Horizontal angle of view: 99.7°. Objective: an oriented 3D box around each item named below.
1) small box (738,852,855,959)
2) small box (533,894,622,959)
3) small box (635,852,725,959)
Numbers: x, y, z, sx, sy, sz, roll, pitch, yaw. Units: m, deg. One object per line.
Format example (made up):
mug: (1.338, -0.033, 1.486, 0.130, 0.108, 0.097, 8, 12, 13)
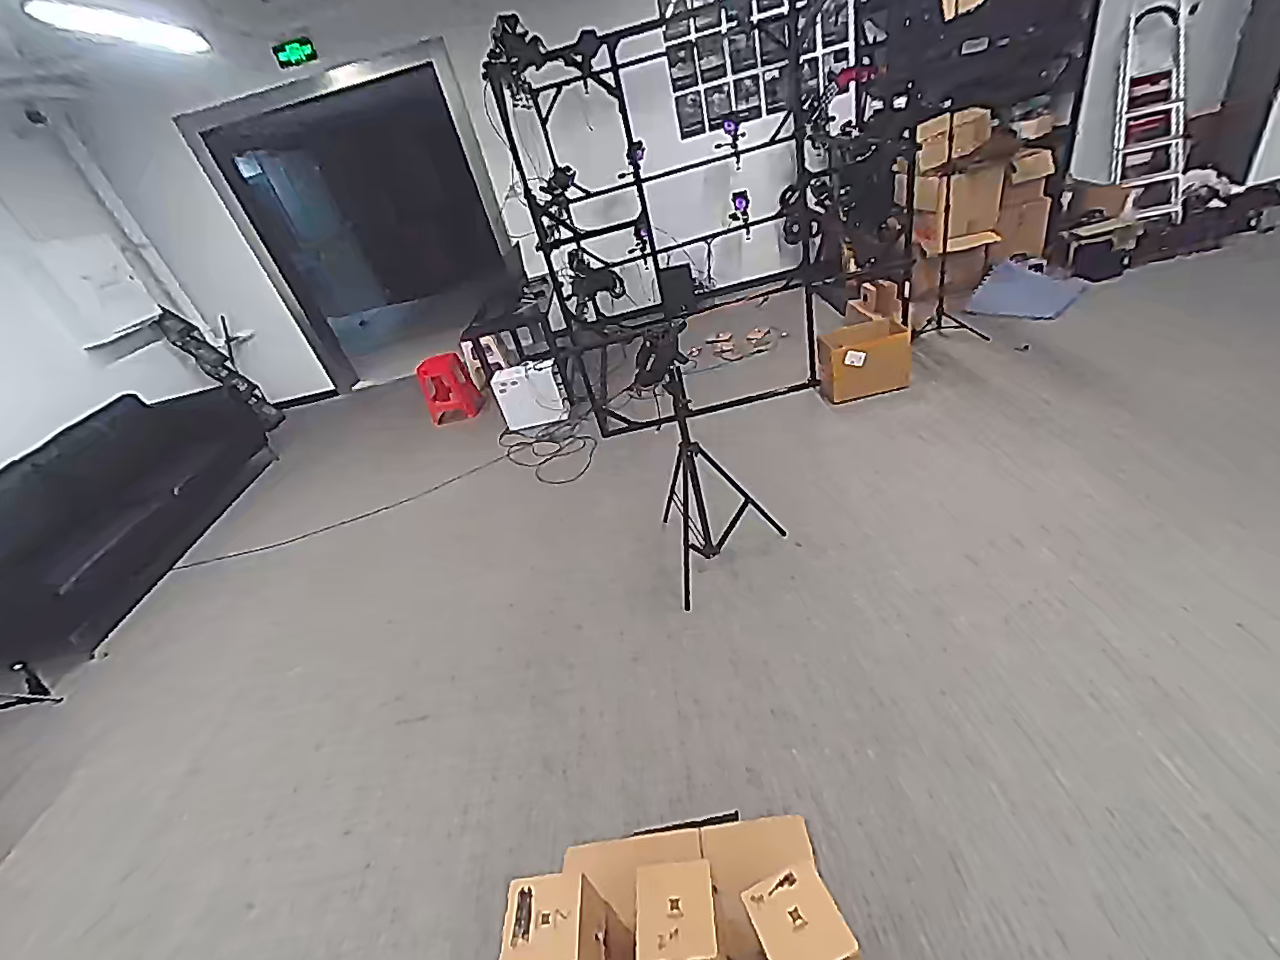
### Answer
small box: (0.326, 0.927, 1.118, 0.168, 0.176, 0.179, -23, 35, -9)
small box: (-0.144, 1.135, 1.304, 0.179, 0.176, 0.168, -13, 33, 7)
small box: (0.088, 0.951, 1.179, 0.168, 0.176, 0.179, -11, 34, 7)
